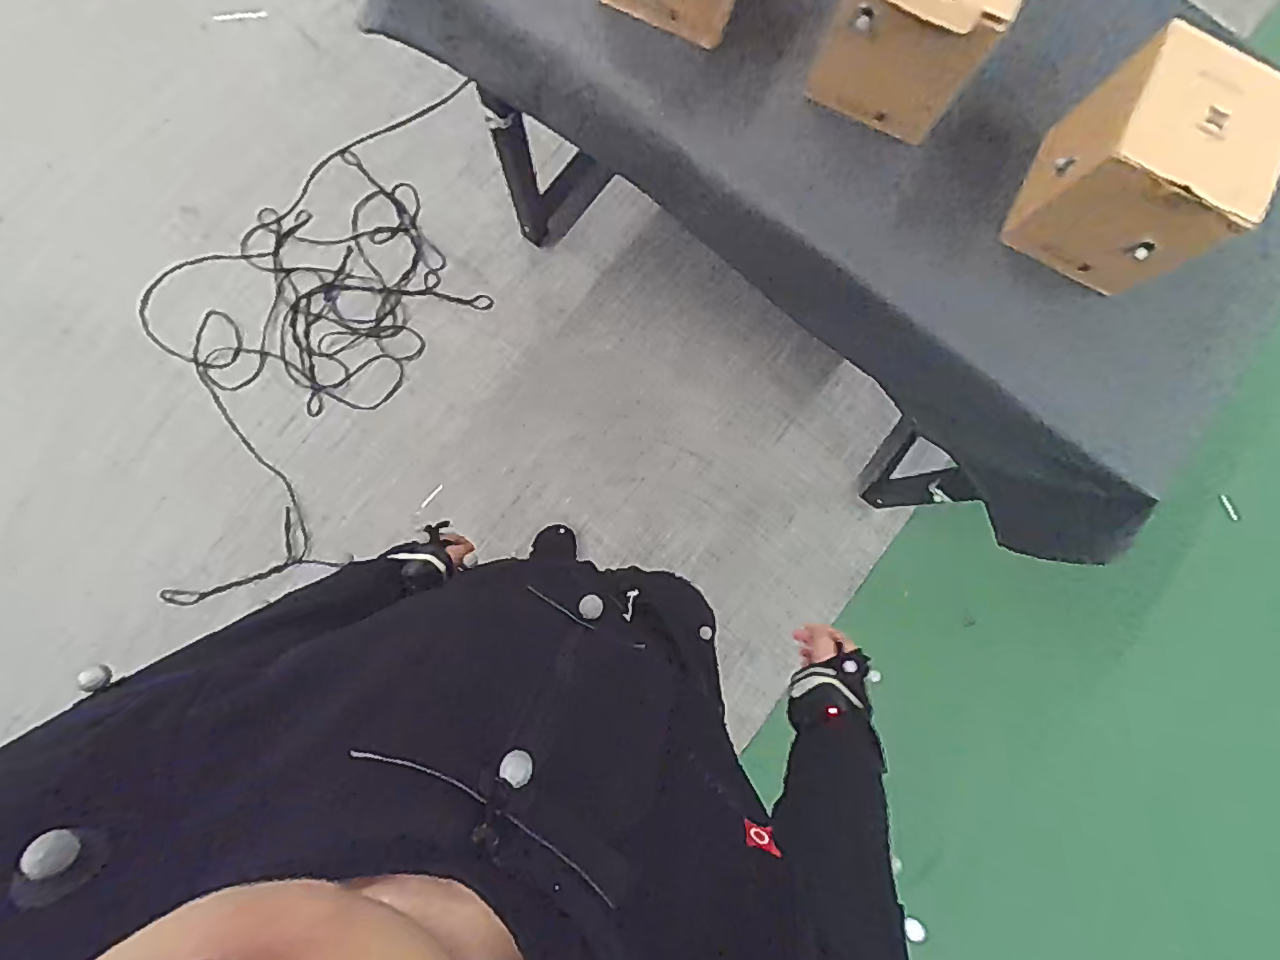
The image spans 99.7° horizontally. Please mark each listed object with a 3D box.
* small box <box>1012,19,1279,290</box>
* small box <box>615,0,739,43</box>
[{"bbox_3d":[0.582,-0.356,0.627,0.168,0.176,0.179,27,83,-1],"label":"small box"},{"bbox_3d":[0.065,-0.678,0.628,0.168,0.176,0.179,23,85,-1],"label":"small box"}]
